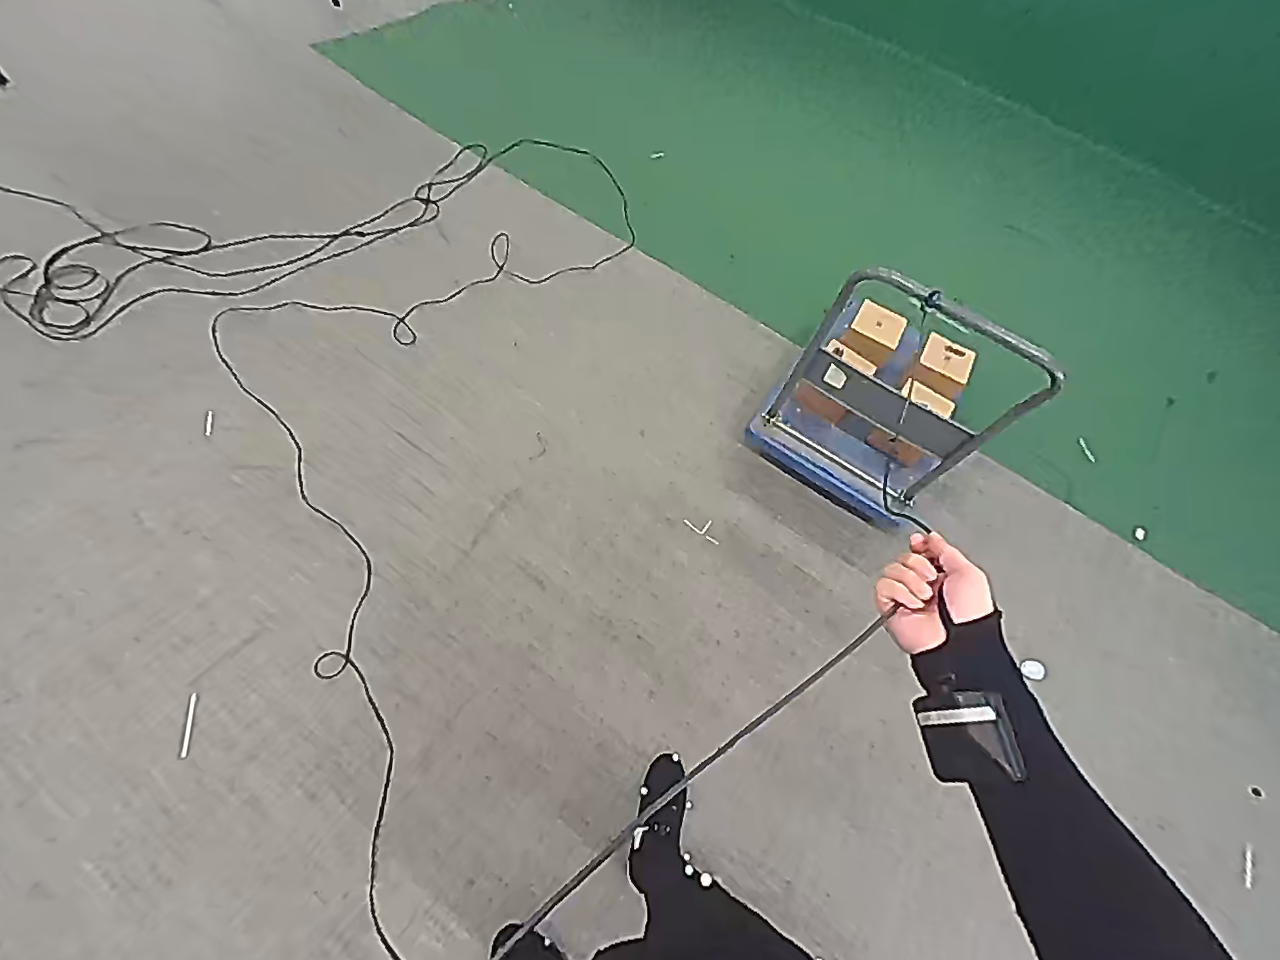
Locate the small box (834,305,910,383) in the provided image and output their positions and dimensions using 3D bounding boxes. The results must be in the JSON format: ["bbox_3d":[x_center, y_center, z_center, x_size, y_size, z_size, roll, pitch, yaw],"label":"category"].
[{"bbox_3d":[0.820,-0.481,1.928,0.168,0.176,0.179,31,60,8],"label":"small box"}]

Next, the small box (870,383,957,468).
[{"bbox_3d":[0.883,-0.174,1.761,0.168,0.176,0.179,35,62,11],"label":"small box"}]

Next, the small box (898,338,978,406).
[{"bbox_3d":[1.035,-0.356,1.891,0.168,0.176,0.179,30,61,9],"label":"small box"}]
